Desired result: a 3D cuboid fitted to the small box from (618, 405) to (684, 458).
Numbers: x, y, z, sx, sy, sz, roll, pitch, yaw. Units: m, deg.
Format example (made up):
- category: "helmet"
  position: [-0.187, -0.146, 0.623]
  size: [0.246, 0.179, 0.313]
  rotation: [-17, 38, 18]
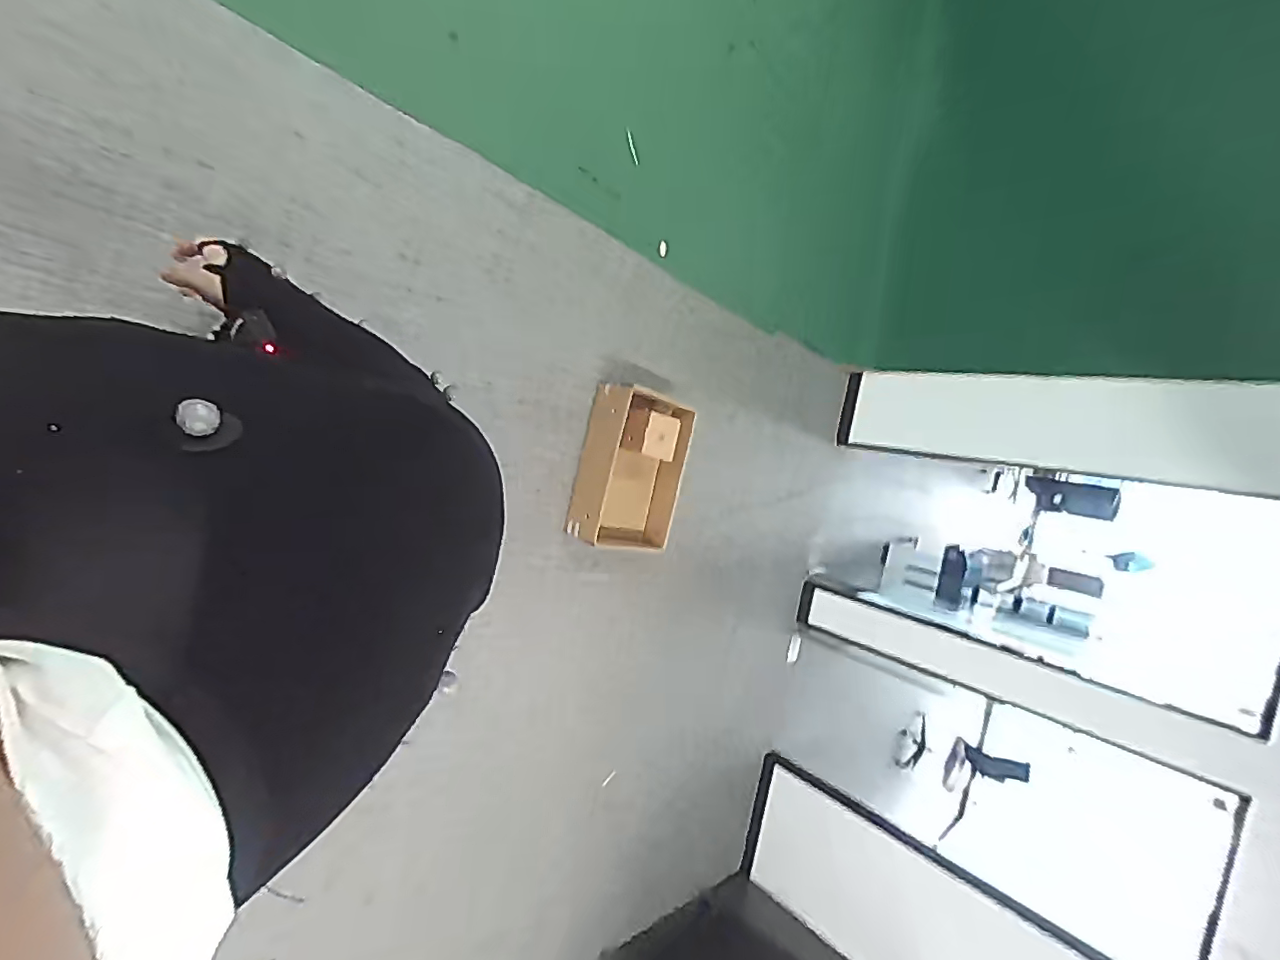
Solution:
- category: "small box"
  position: [0.040, -0.194, 2.134]
  size: [0.179, 0.176, 0.168]
  rotation: [11, 95, -45]
